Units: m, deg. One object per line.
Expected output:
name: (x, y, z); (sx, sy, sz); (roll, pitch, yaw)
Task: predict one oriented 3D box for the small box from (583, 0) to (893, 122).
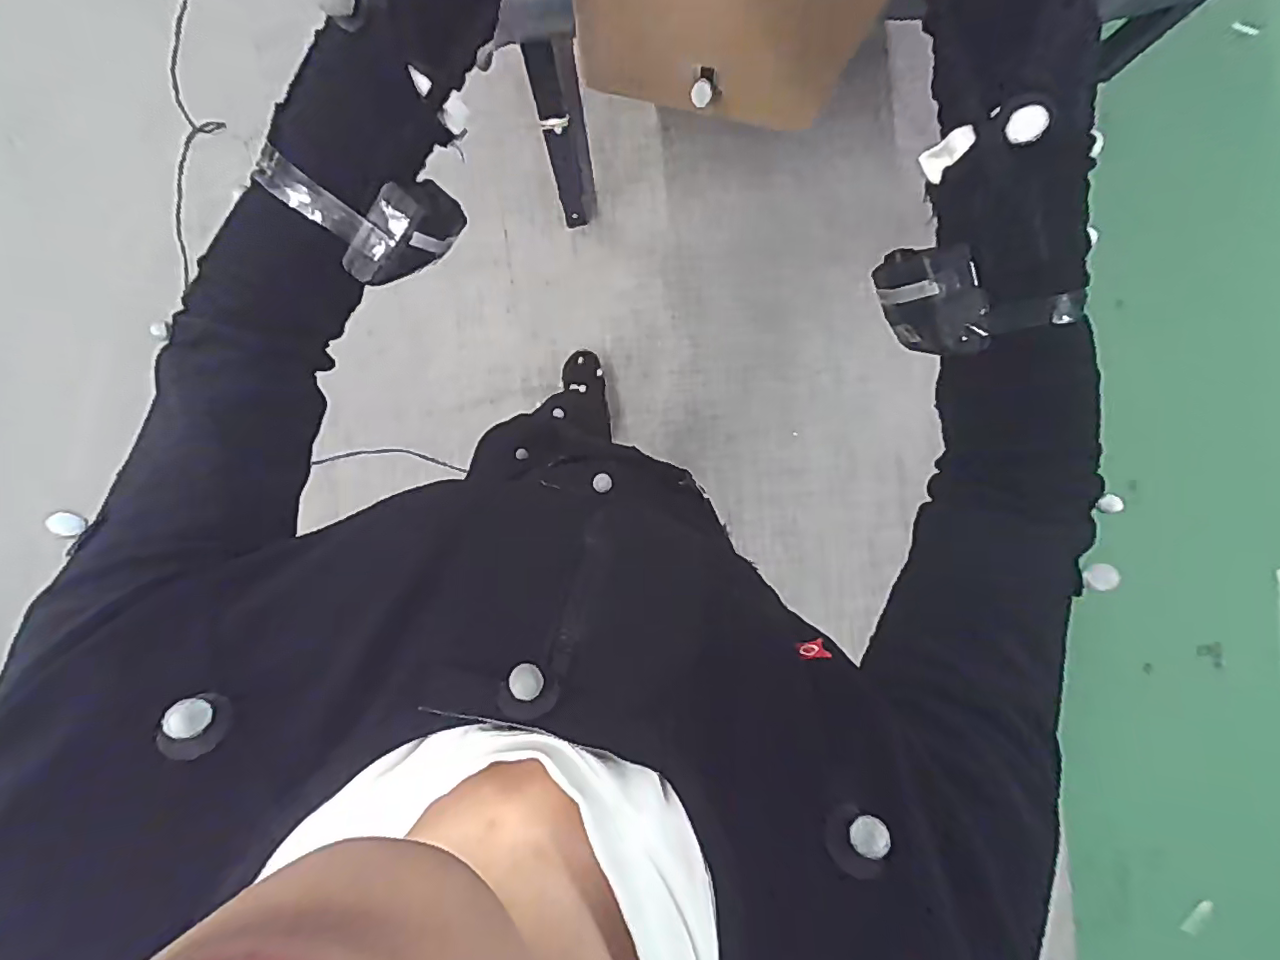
small box: (0.064, -0.355, 0.324); (0.179, 0.176, 0.168); (10, 94, -4)
